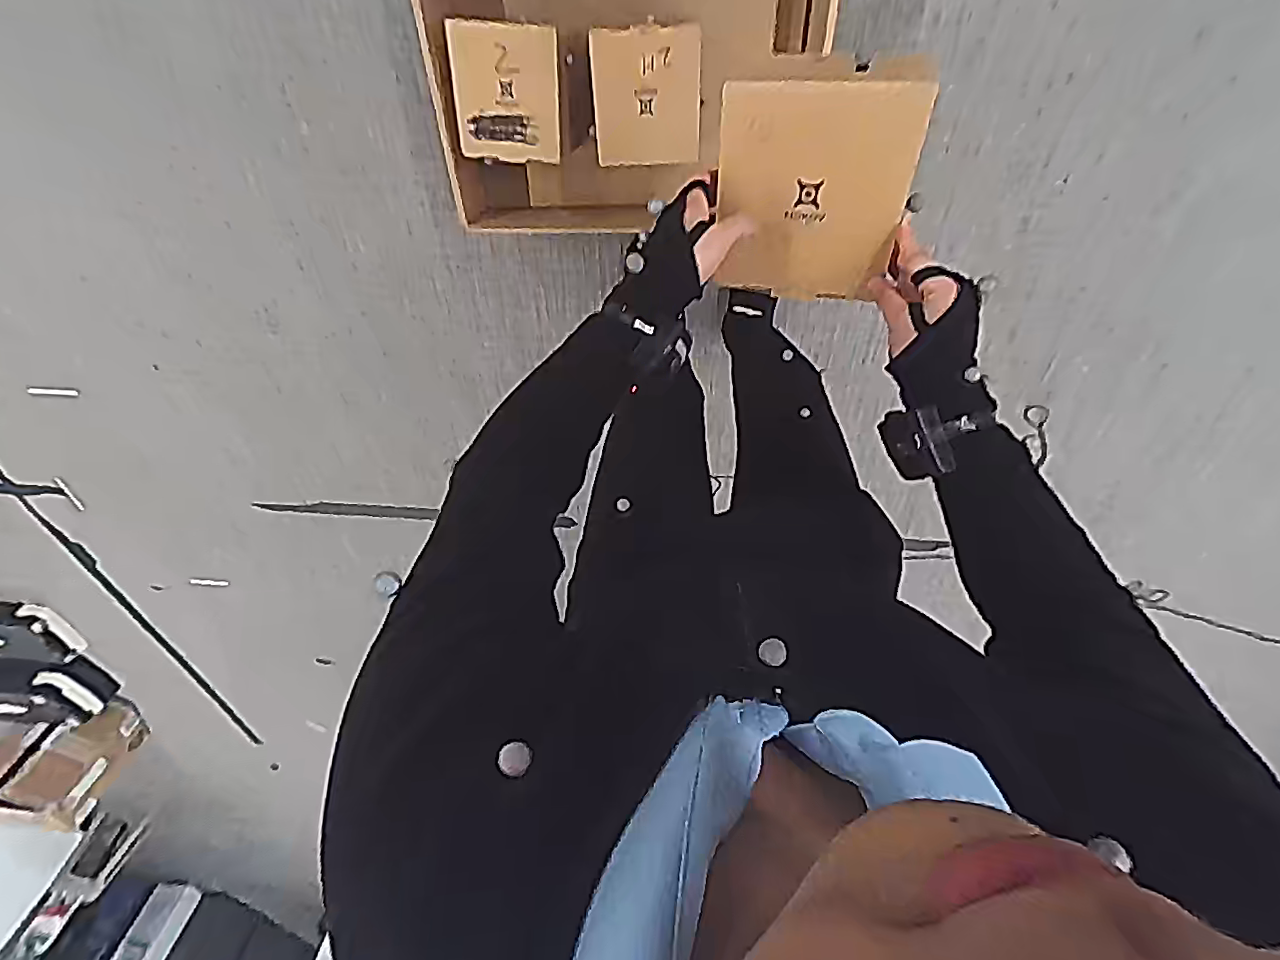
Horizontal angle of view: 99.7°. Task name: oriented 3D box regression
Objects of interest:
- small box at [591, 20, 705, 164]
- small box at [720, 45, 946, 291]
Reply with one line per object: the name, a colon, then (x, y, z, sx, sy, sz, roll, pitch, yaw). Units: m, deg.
small box: (0.020, -0.632, 0.882, 0.168, 0.176, 0.179, 1, 129, 5)
small box: (0.181, -0.313, 0.536, 0.168, 0.176, 0.179, 12, 137, 16)
